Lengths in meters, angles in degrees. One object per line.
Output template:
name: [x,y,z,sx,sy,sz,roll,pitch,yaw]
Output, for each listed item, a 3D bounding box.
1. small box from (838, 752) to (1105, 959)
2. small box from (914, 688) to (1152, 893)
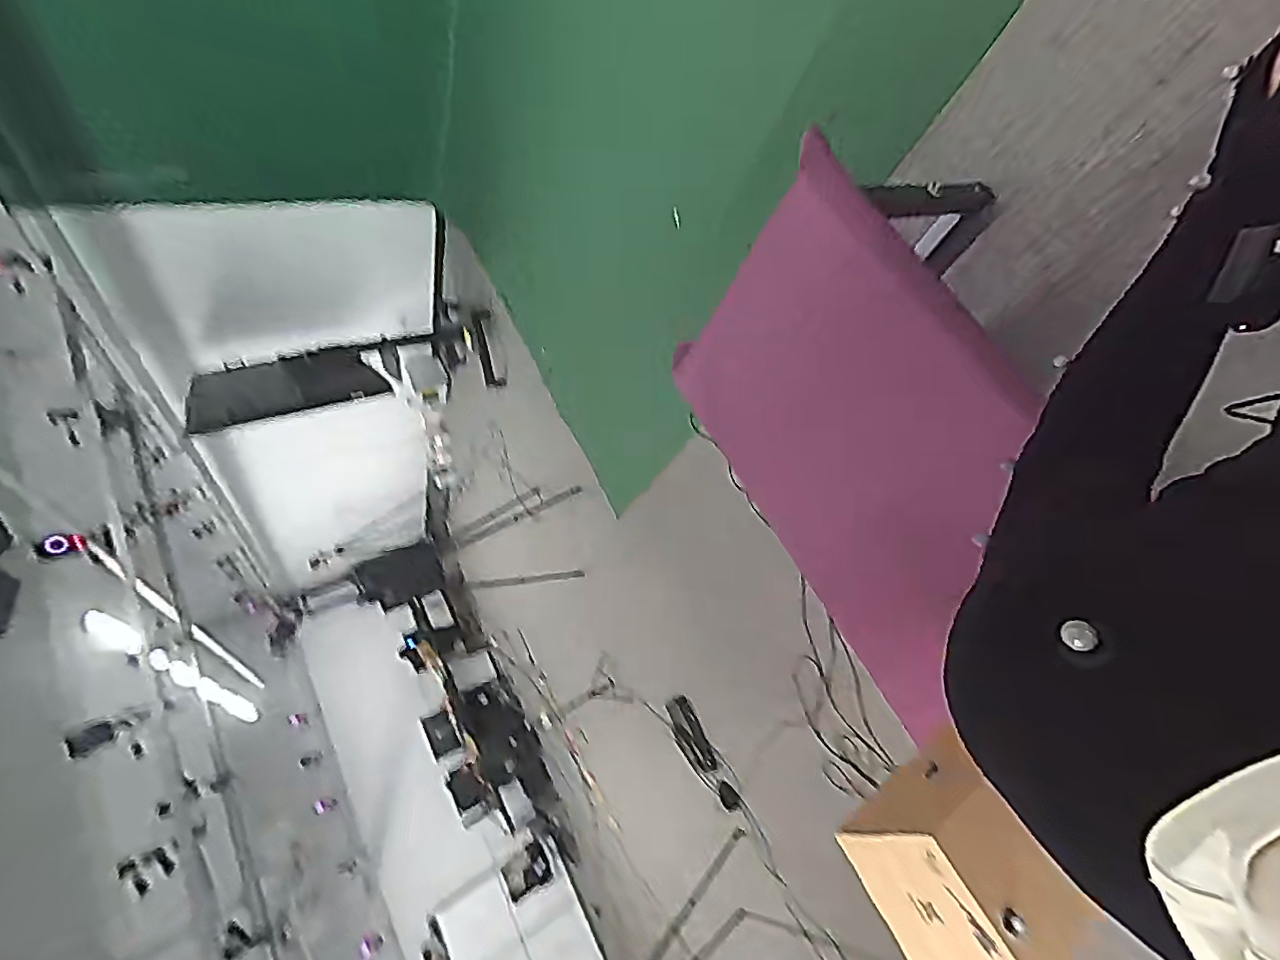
small box: [0.385,0.452,0.641,0.168,0.176,0.179,58,148,20]
small box: [0.520,0.401,0.718,0.168,0.176,0.179,58,149,19]
